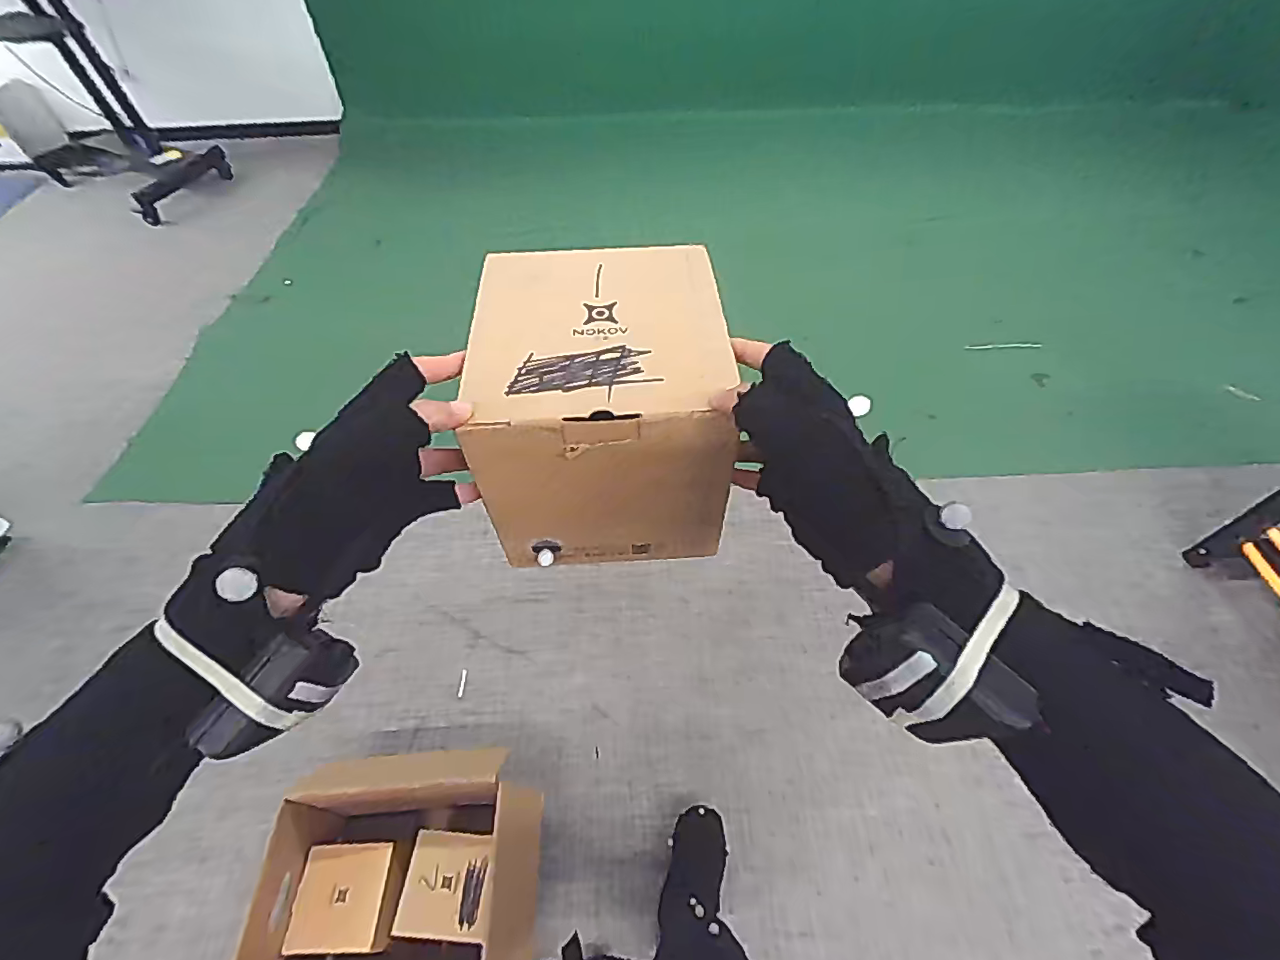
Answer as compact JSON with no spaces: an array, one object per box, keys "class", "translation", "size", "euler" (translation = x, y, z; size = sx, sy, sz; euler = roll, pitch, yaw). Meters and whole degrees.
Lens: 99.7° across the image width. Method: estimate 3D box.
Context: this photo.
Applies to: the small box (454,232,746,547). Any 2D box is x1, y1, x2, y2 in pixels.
[{"class":"small box","translation":[-0.024,-0.059,0.408],"size":[0.168,0.176,0.179],"euler":[-3,53,-2]}]
